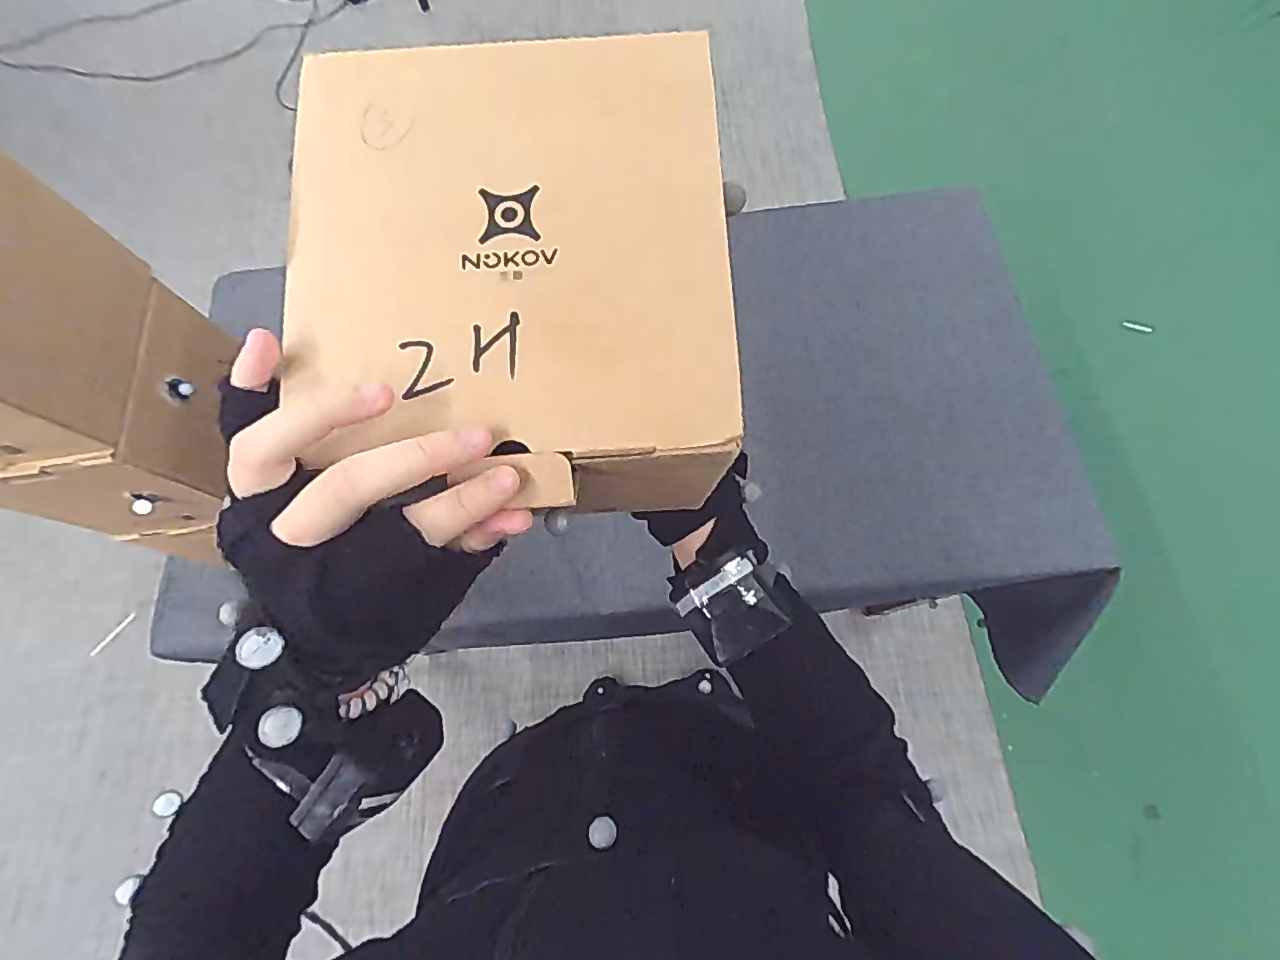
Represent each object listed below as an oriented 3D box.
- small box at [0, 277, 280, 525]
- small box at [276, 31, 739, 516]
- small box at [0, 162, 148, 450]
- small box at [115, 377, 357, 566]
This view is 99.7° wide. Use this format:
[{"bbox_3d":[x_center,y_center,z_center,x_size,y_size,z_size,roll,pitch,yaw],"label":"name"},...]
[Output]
[{"bbox_3d":[-0.484,-0.061,0.519,0.168,0.176,0.179,-7,70,1],"label":"small box"},{"bbox_3d":[-0.047,-0.080,0.283,0.168,0.176,0.179,-3,80,1],"label":"small box"},{"bbox_3d":[-0.495,-0.123,0.368,0.168,0.176,0.179,-8,70,0],"label":"small box"},{"bbox_3d":[-0.476,-0.002,0.671,0.168,0.176,0.179,-8,70,1],"label":"small box"}]
